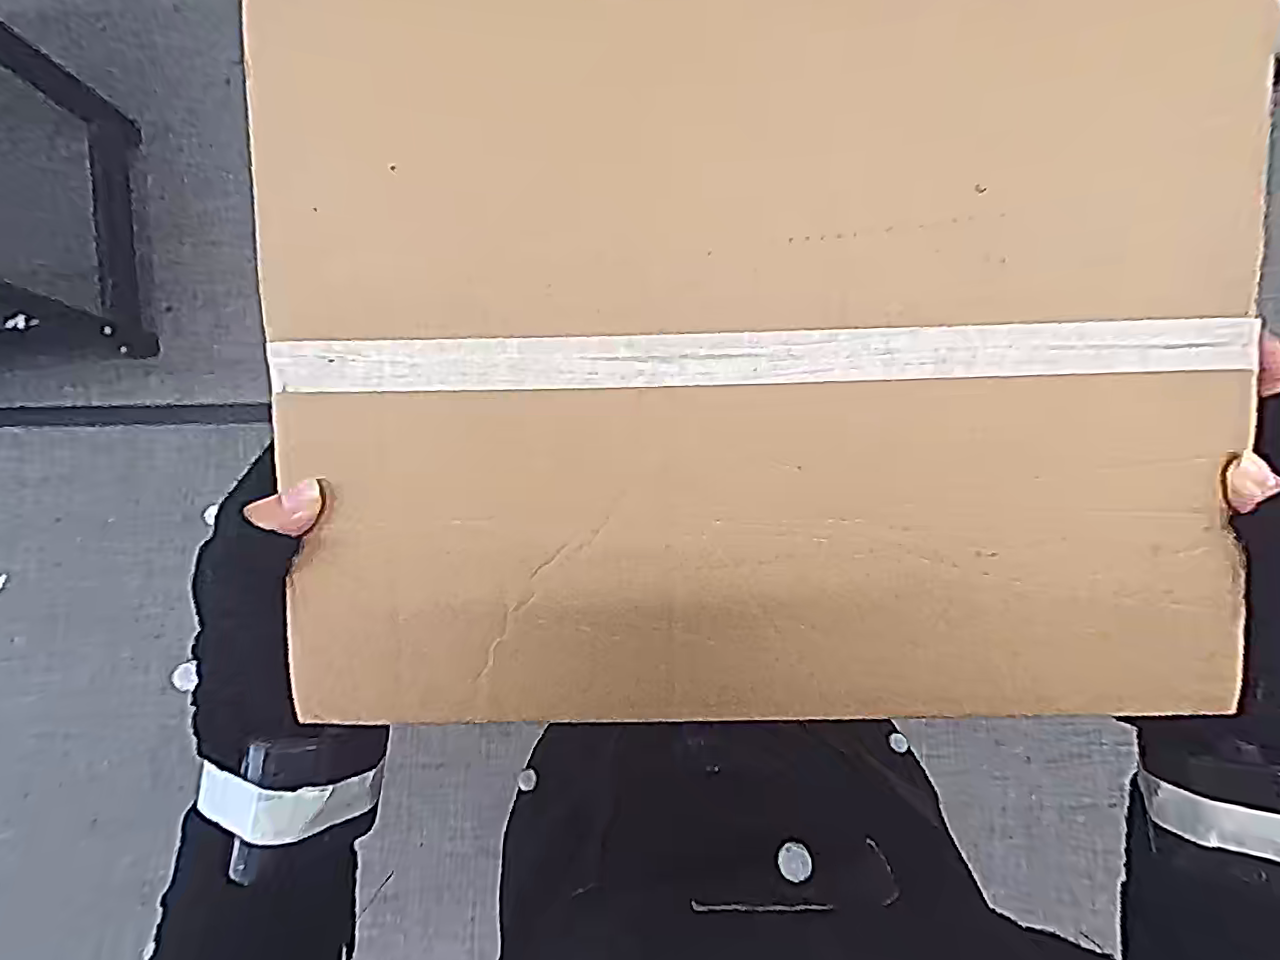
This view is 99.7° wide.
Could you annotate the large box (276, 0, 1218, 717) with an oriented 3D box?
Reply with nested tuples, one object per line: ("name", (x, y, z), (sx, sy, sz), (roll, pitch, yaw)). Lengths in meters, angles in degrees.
("large box", (0.050, -0.061, 0.388), (0.408, 0.320, 0.320), (-2, 94, 1))
